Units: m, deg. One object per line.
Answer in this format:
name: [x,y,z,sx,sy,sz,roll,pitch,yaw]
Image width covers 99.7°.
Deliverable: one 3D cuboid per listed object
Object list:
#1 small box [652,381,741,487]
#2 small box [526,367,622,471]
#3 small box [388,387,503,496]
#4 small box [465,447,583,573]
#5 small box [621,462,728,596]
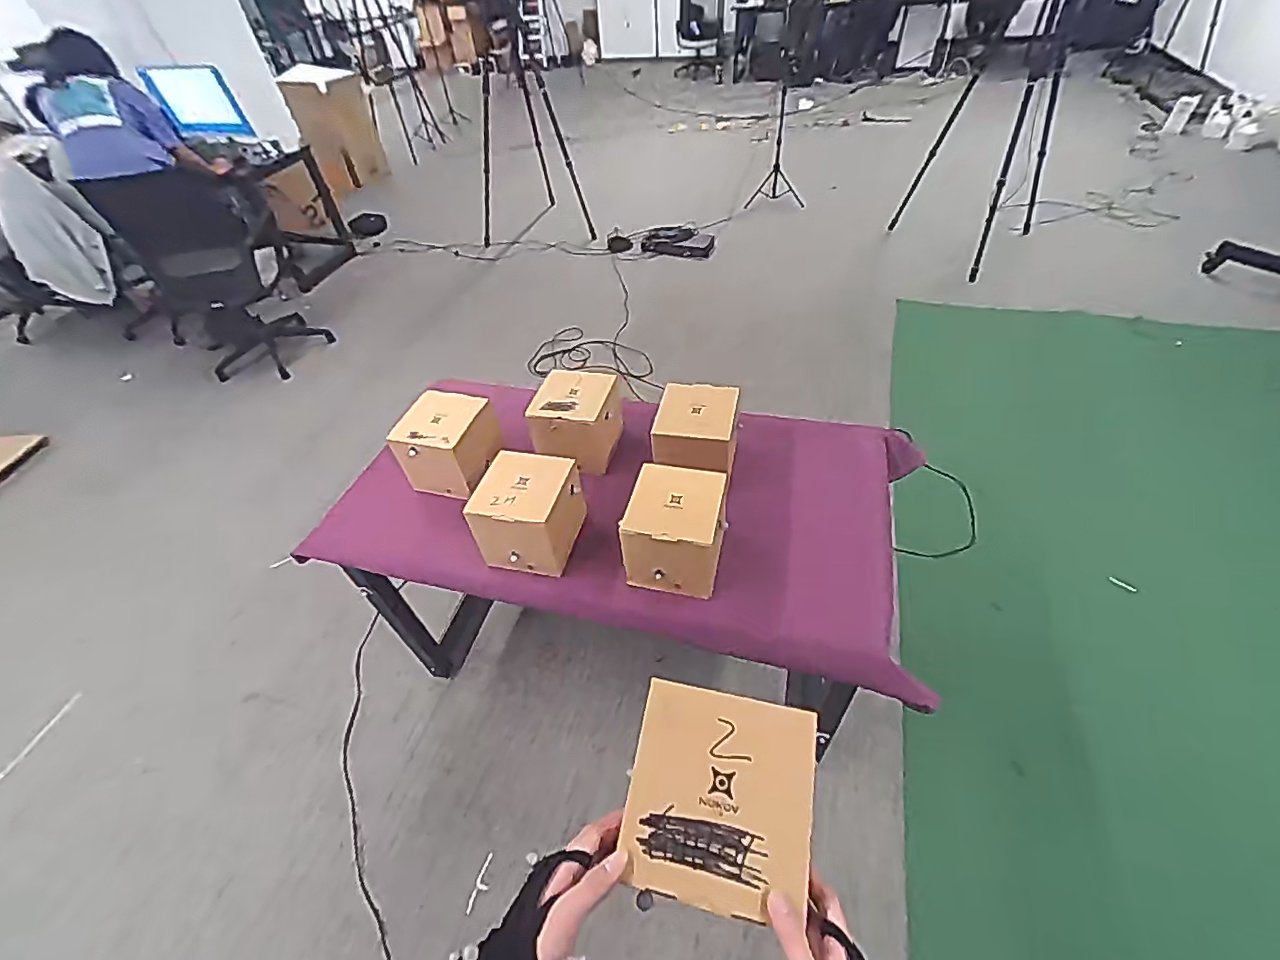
small box: [0.128,-0.096,1.213,0.168,0.176,0.179,7,49,13]
small box: [-0.145,-0.142,1.278,0.168,0.176,0.179,9,48,13]
small box: [-0.436,-0.090,1.251,0.168,0.176,0.179,9,48,15]
small box: [-0.221,0.060,1.092,0.168,0.176,0.179,8,47,13]
small box: [0.069,0.093,1.039,0.168,0.176,0.179,8,48,13]
